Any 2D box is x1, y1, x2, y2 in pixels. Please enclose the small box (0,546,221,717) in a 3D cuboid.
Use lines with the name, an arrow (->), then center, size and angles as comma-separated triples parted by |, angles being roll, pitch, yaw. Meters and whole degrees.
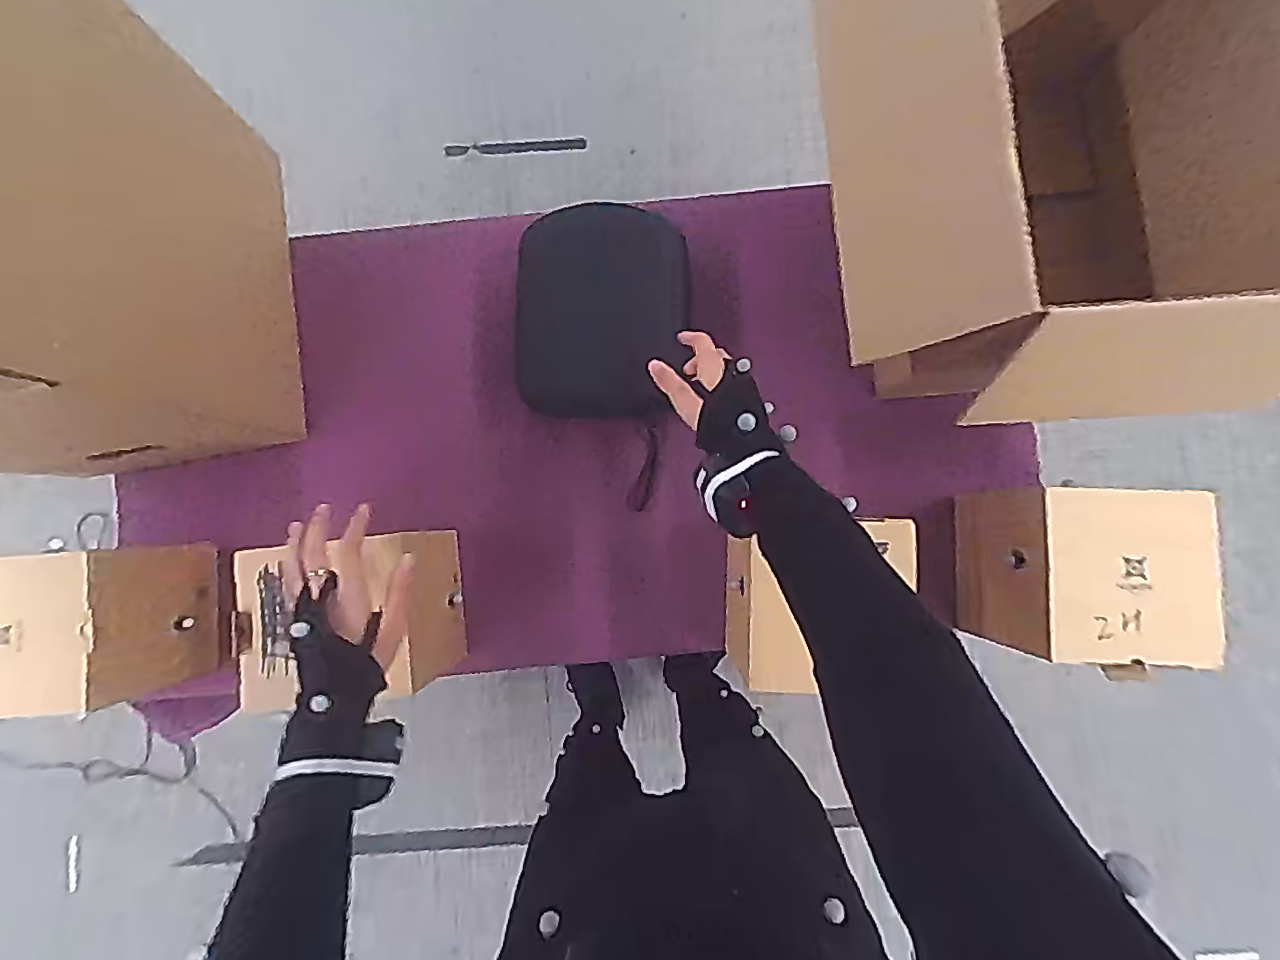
small box -> -0.643, 0.166, 0.633 | 0.179, 0.176, 0.168 | -4, 85, 0

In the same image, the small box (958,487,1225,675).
small box -> 0.481, 0.105, 0.606 | 0.168, 0.176, 0.179 | 2, 85, 3
